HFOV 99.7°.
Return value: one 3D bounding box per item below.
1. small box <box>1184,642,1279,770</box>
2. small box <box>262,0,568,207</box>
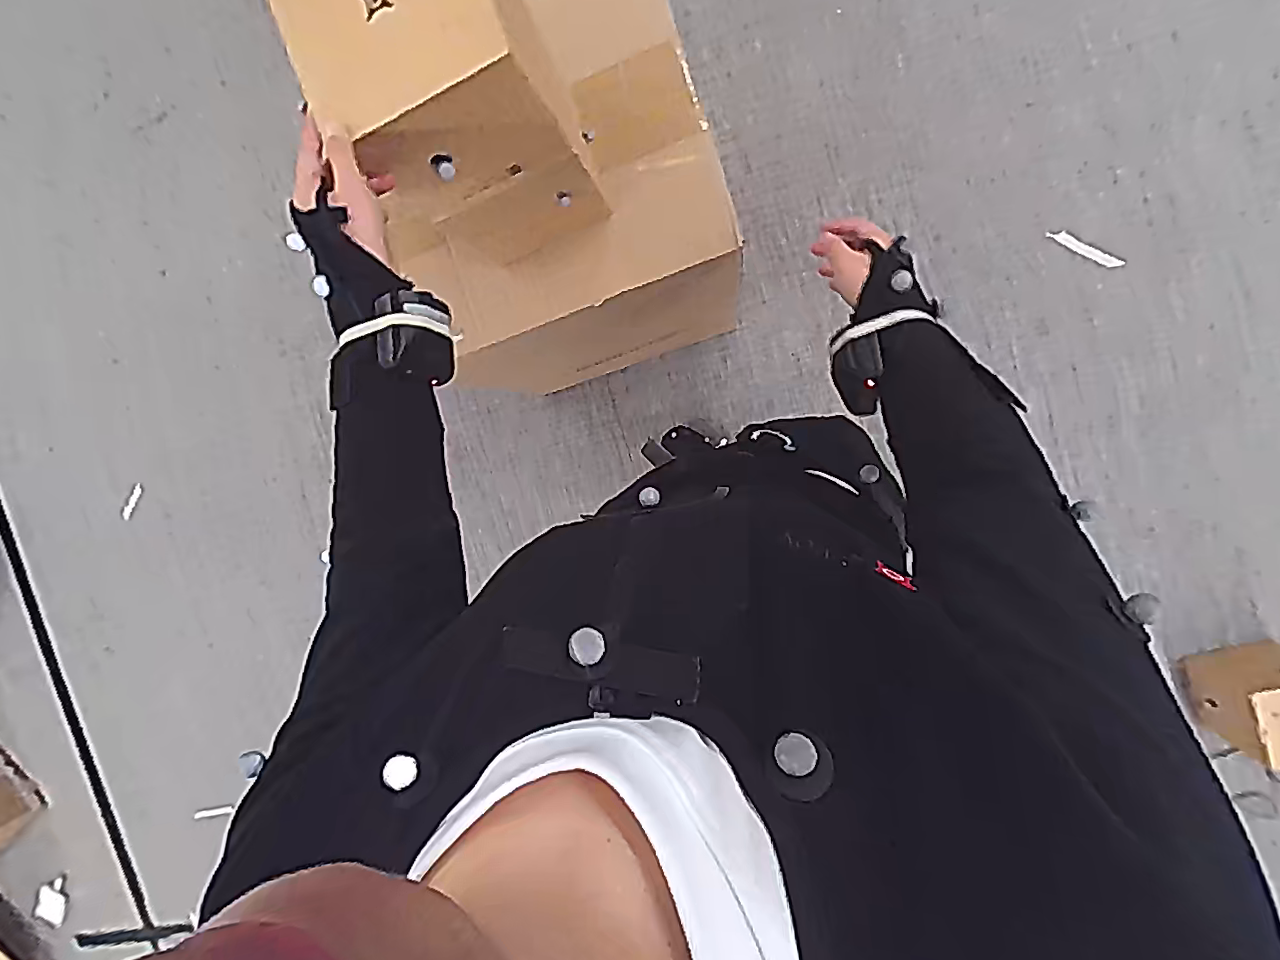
[{"bbox_3d":[1.293,0.452,1.106,0.179,0.176,0.168,-18,92,11],"label":"small box"},{"bbox_3d":[-0.182,-0.365,0.466,0.168,0.176,0.179,-19,93,12],"label":"small box"}]
